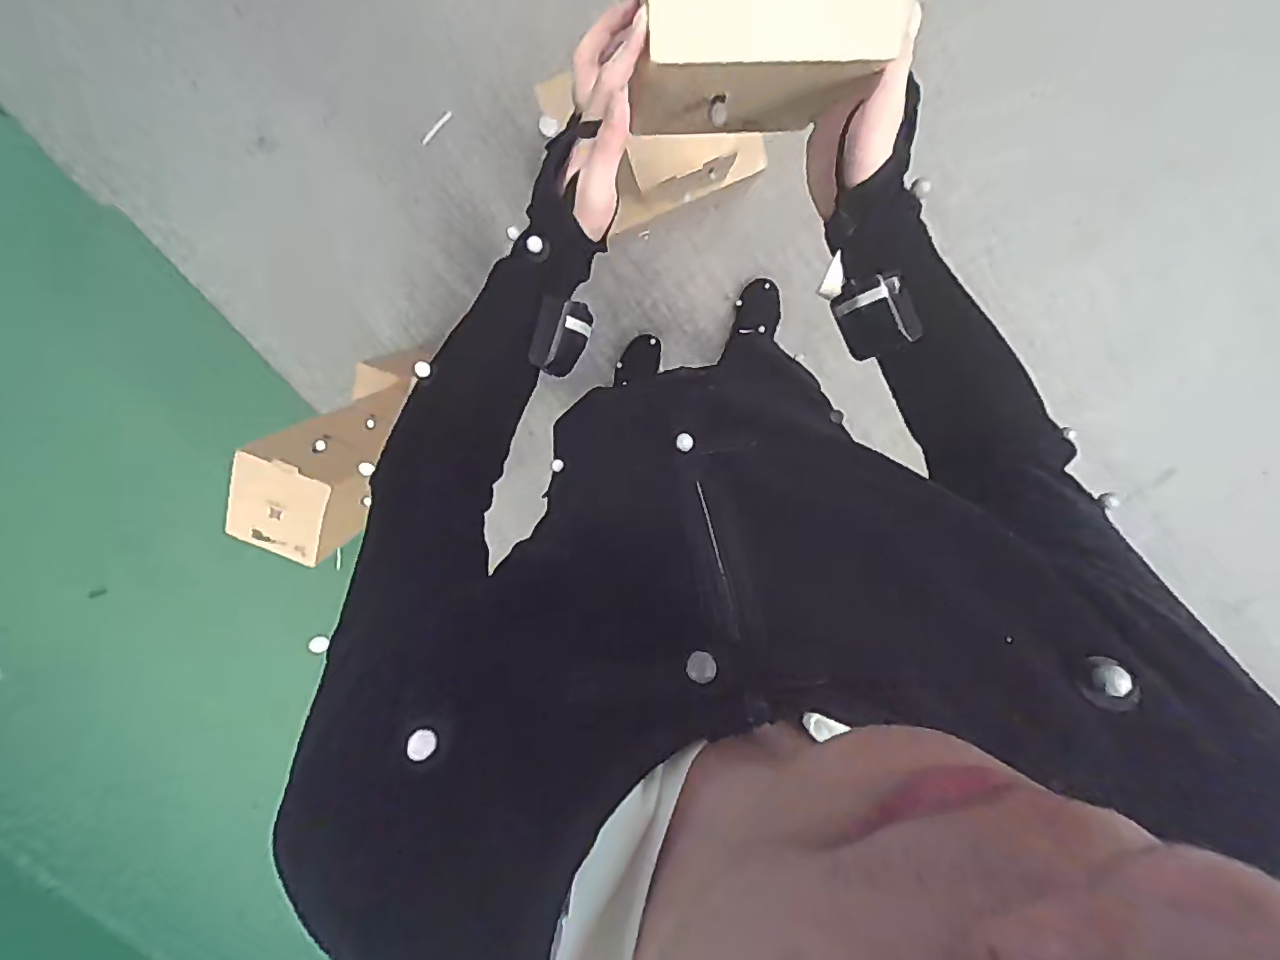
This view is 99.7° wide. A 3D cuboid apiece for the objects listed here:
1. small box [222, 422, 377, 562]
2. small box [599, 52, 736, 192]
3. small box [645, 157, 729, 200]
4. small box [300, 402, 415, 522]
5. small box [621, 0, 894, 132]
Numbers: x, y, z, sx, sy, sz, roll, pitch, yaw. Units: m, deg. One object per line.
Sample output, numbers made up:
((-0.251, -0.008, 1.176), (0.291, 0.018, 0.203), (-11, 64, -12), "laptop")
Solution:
((-0.613, 0.014, 0.992), (0.168, 0.176, 0.179), (24, 110, -4), "small box")
((0.050, -0.587, 0.876), (0.168, 0.176, 0.179), (-17, 109, 11), "small box")
((0.063, -0.654, 1.024), (0.168, 0.176, 0.179), (-15, 111, 11), "small box")
((-0.603, -0.046, 1.145), (0.168, 0.176, 0.179), (24, 112, -4), "small box")
((0.072, -0.375, 0.397), (0.168, 0.176, 0.179), (-4, 107, -3), "small box")
